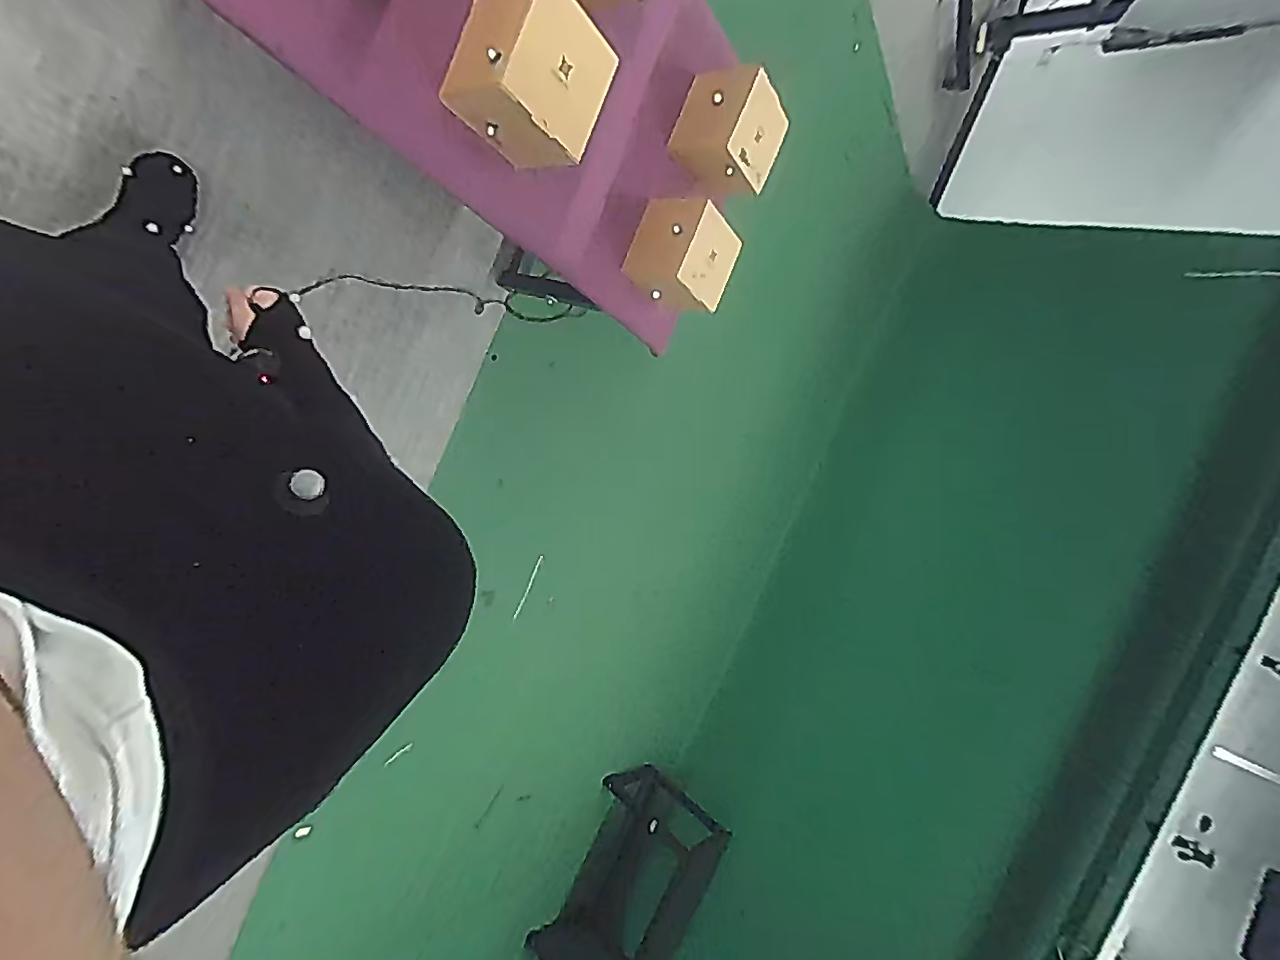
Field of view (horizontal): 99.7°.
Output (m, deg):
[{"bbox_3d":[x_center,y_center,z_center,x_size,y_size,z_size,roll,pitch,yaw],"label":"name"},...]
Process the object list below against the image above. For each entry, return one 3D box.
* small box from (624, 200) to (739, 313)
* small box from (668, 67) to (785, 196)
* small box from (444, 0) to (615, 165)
[{"bbox_3d":[0.090,-0.503,1.218,0.168,0.176,0.179,22,91,-52],"label":"small box"},{"bbox_3d":[0.189,-0.761,1.199,0.168,0.176,0.179,19,94,-52],"label":"small box"},{"bbox_3d":[-0.174,-0.623,0.839,0.168,0.176,0.179,19,95,-54],"label":"small box"}]
